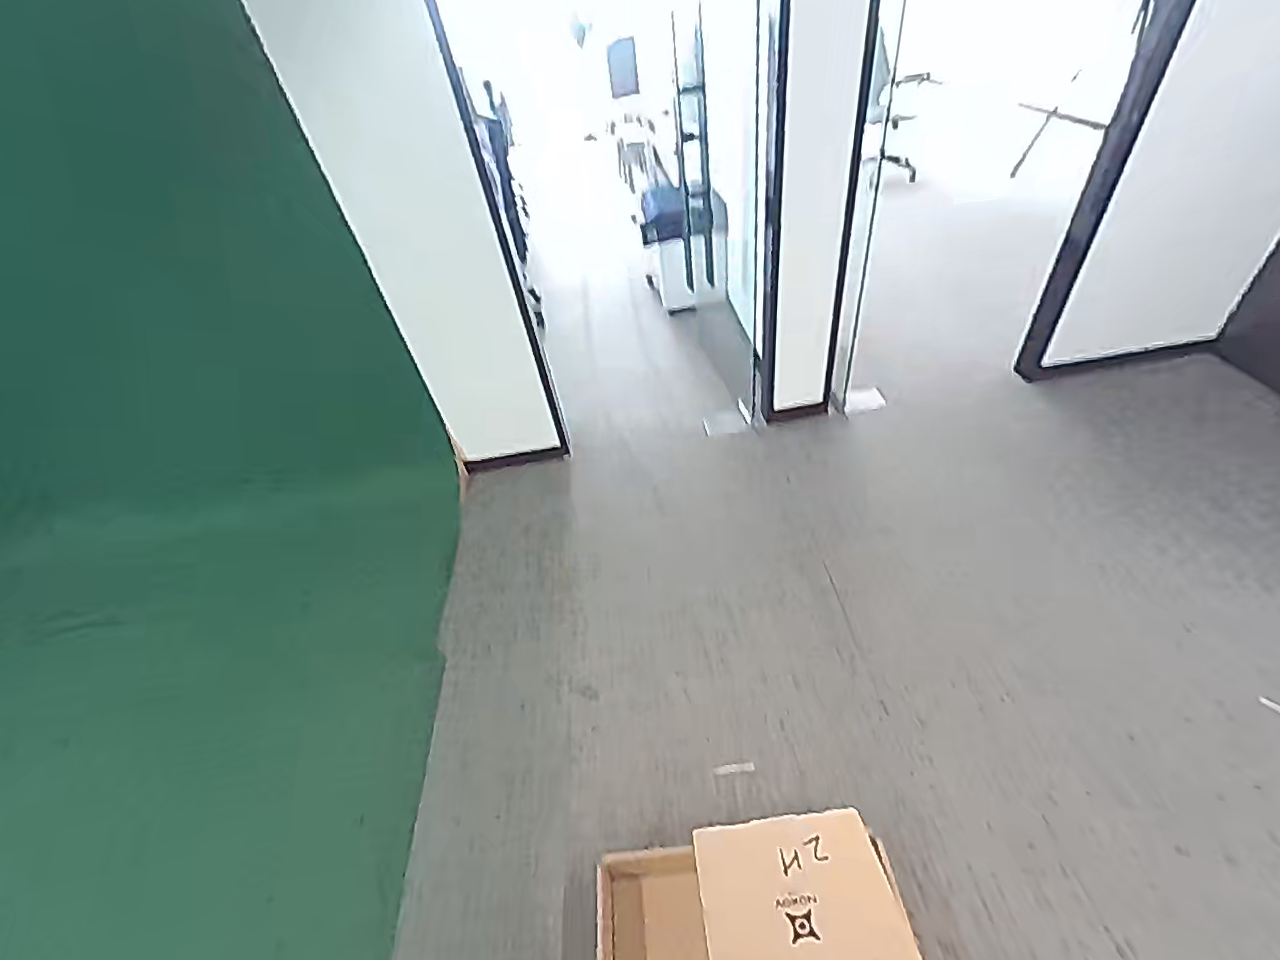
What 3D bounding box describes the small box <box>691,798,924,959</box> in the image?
[{"bbox_3d":[0.144,0.427,0.479,0.168,0.176,0.179,-8,23,1],"label":"small box"}]
